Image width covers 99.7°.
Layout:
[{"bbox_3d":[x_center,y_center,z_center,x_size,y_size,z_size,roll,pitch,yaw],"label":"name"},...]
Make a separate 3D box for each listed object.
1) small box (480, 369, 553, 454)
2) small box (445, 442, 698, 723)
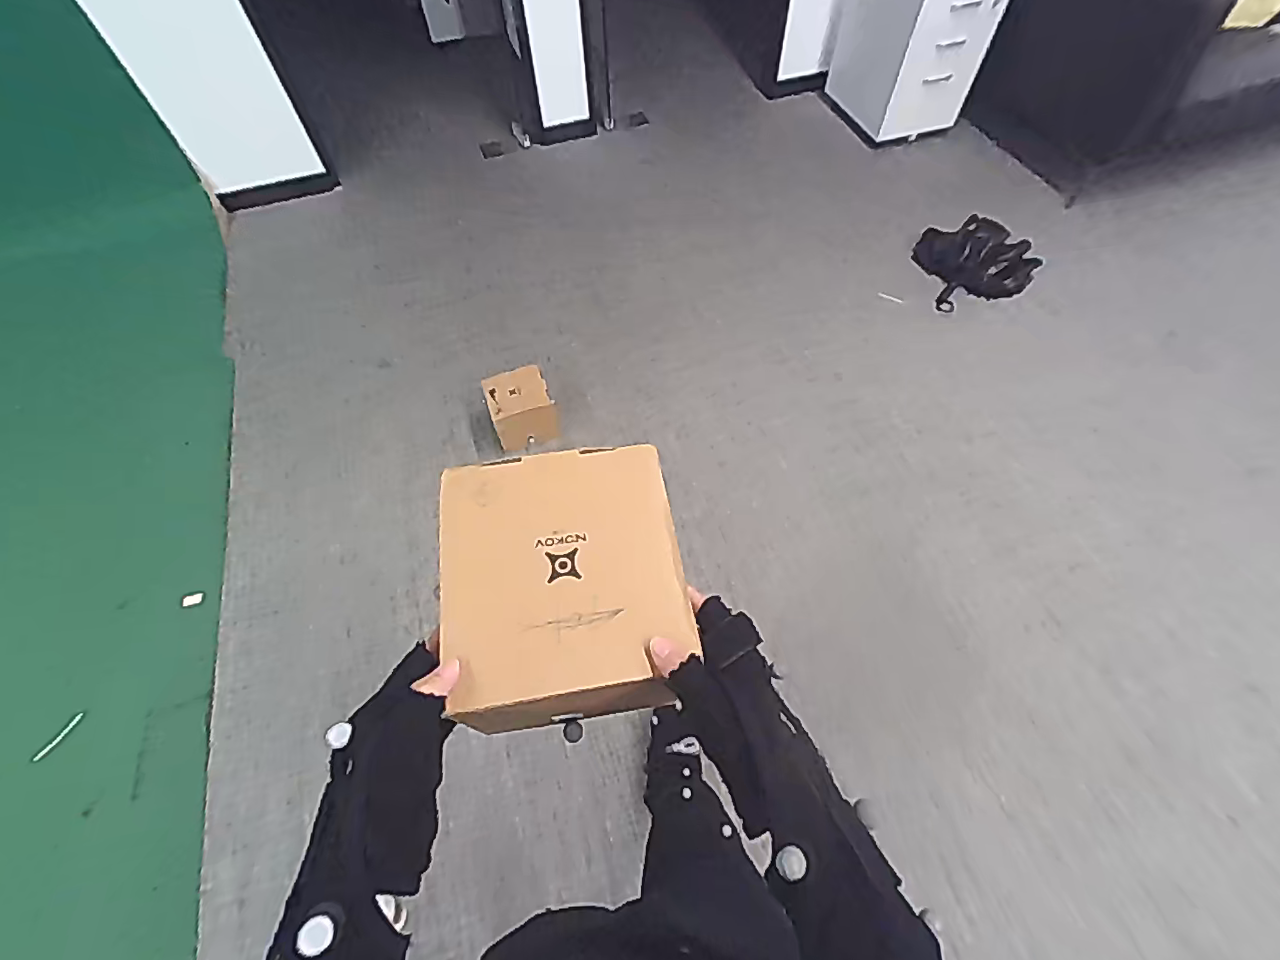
[{"bbox_3d":[-0.371,-0.206,1.654,0.179,0.176,0.168,-18,60,-9],"label":"small box"},{"bbox_3d":[-0.060,0.091,0.455,0.168,0.176,0.179,-7,62,-8],"label":"small box"}]
